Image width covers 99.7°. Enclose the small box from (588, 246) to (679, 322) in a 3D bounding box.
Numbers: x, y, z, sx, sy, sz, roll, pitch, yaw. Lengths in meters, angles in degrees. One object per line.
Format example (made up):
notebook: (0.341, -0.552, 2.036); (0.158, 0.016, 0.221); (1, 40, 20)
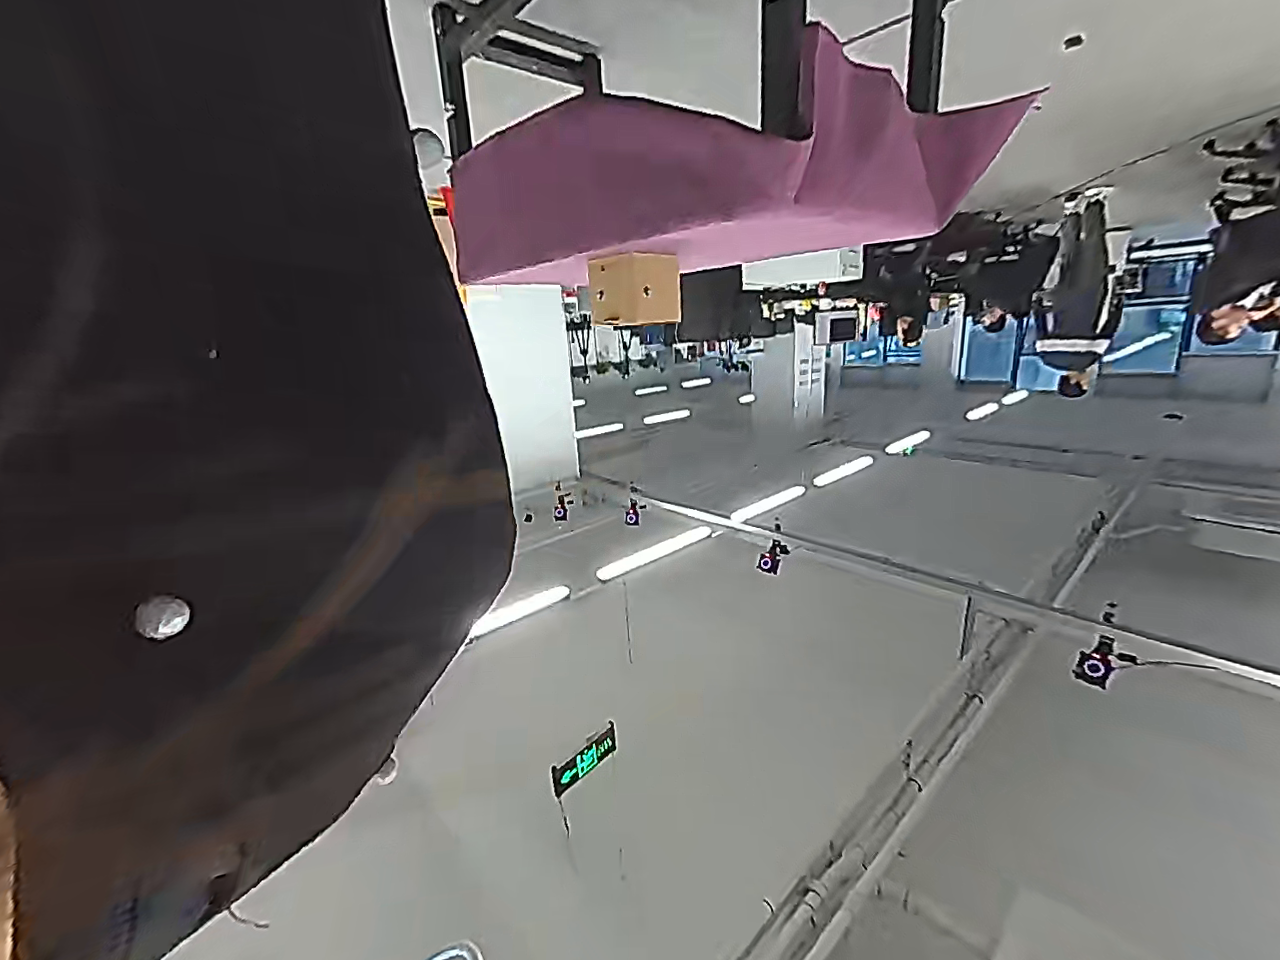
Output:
small box: (-0.018, -0.504, 1.392); (0.168, 0.176, 0.179); (12, -156, 42)
